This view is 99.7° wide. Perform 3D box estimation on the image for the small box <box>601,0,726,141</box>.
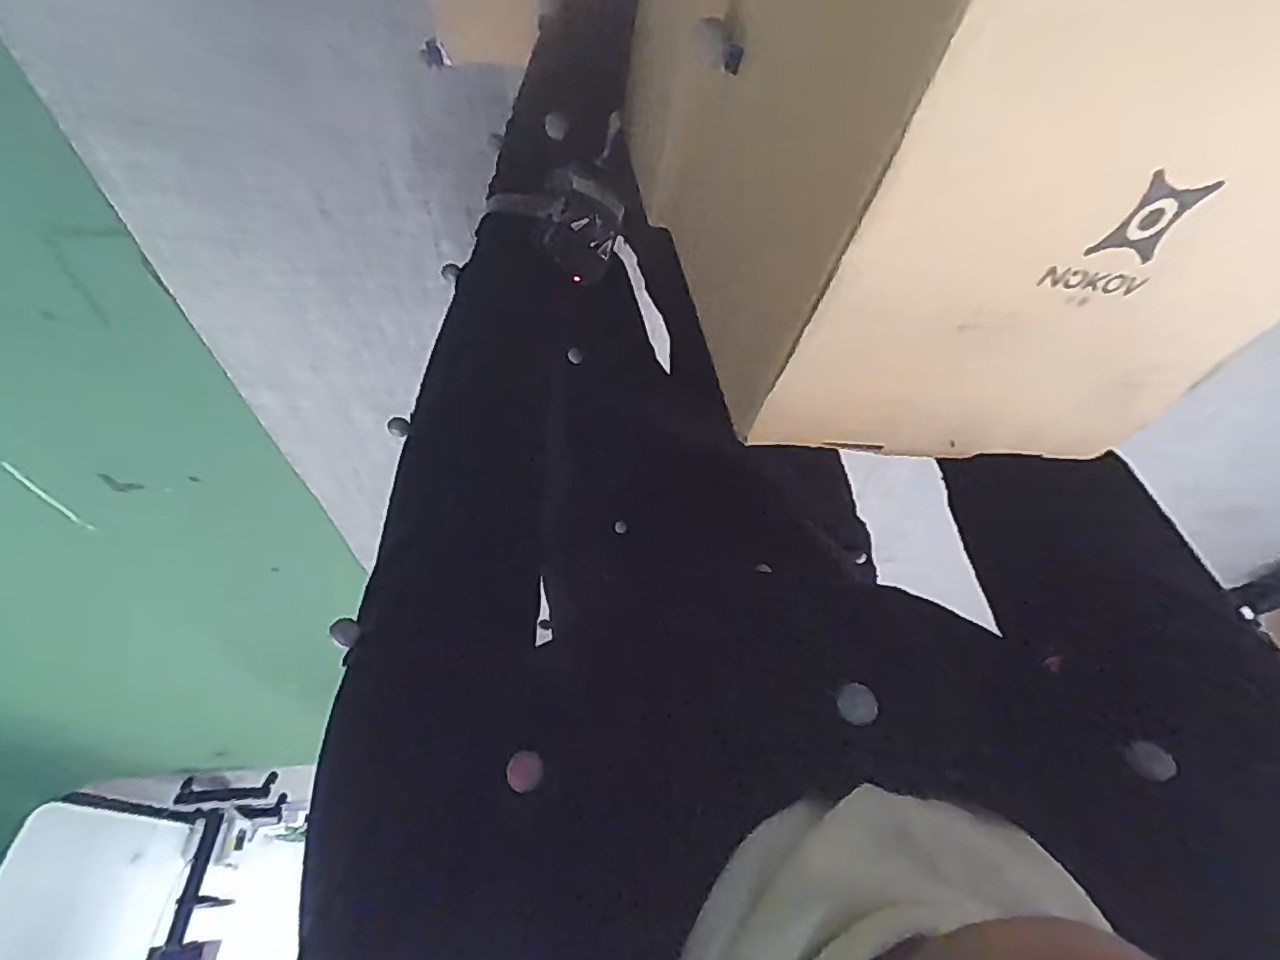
[{"bbox_3d":[0.071,-0.377,0.412,0.179,0.176,0.168,0,144,-15],"label":"small box"}]
